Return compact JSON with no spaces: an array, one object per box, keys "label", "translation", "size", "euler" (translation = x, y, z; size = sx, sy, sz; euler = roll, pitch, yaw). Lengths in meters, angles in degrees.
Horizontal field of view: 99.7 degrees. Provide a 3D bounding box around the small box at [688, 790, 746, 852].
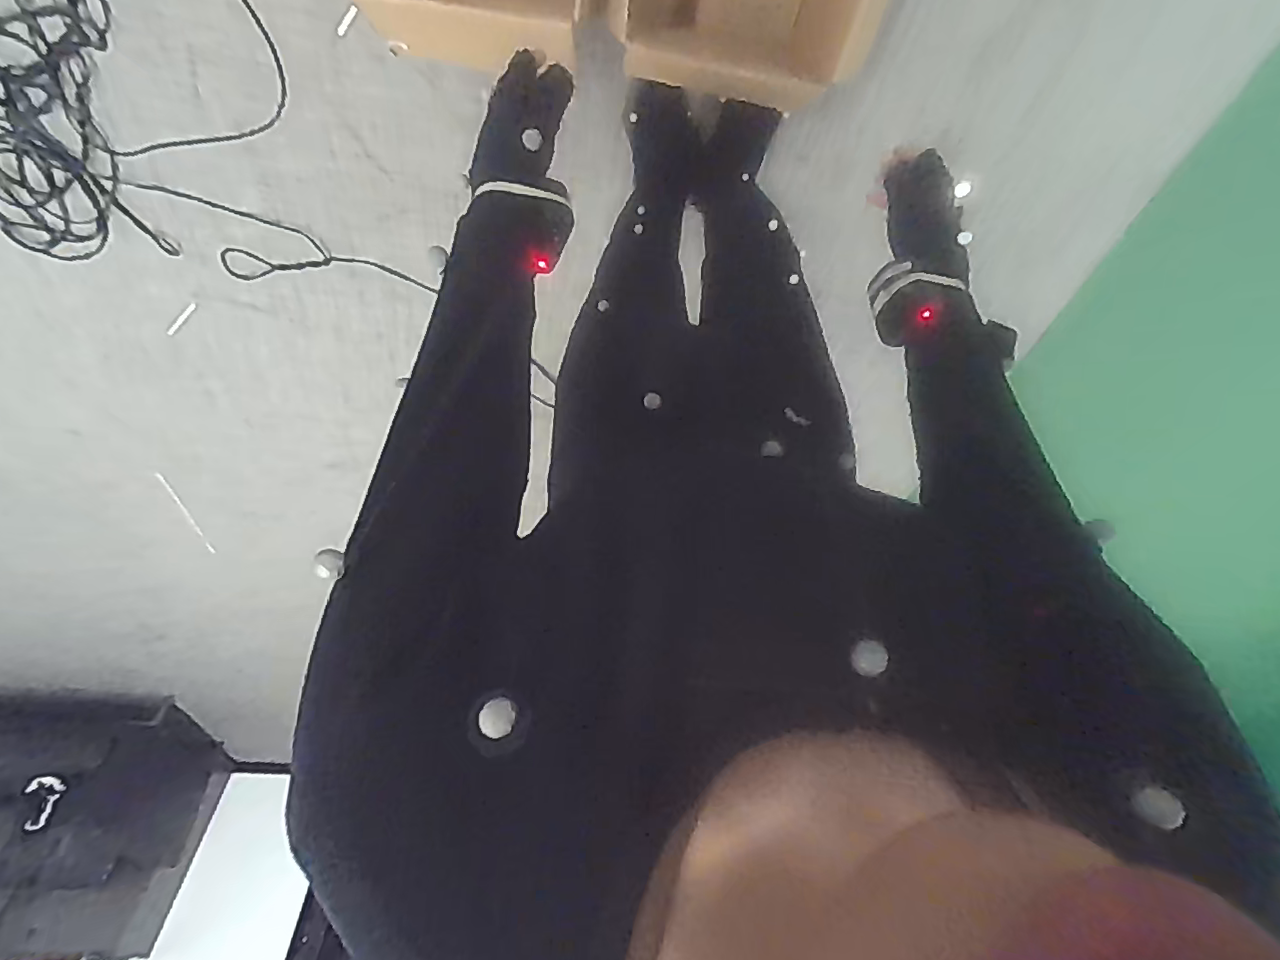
[{"label":"small box","translation":[0.280,1.271,2.017],"size":[0.168,0.176,0.179],"euler":[9,137,-8]}]
